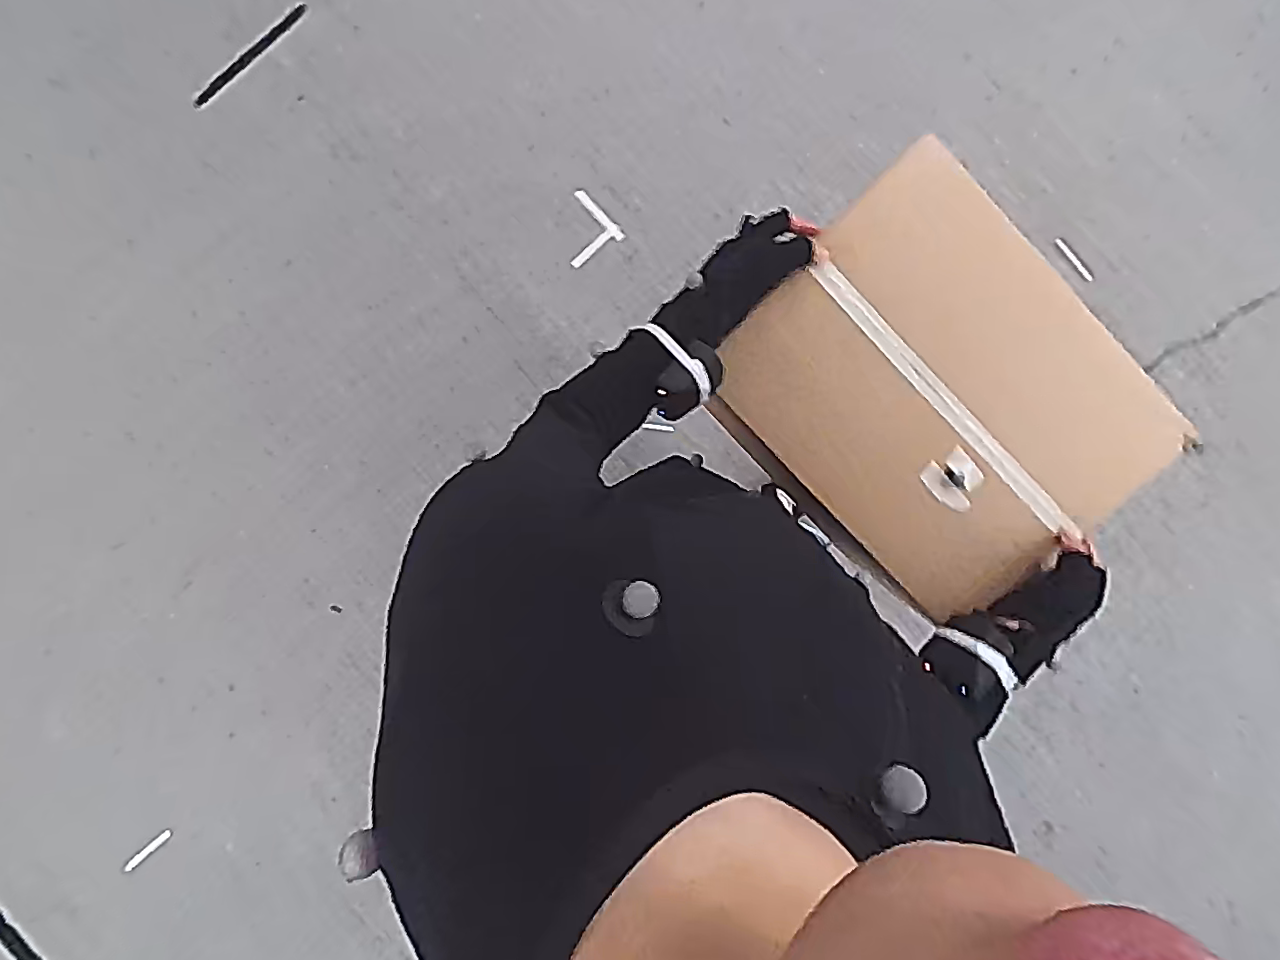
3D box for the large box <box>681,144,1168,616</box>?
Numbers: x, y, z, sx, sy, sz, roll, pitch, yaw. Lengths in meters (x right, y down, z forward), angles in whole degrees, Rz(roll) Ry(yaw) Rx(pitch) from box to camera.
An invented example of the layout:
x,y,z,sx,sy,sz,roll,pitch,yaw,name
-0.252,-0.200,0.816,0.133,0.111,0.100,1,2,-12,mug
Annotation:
x,y,z,sx,sy,sz,roll,pitch,yaw,name
0.303,-0.112,0.707,0.320,0.320,0.408,-44,94,8,large box
